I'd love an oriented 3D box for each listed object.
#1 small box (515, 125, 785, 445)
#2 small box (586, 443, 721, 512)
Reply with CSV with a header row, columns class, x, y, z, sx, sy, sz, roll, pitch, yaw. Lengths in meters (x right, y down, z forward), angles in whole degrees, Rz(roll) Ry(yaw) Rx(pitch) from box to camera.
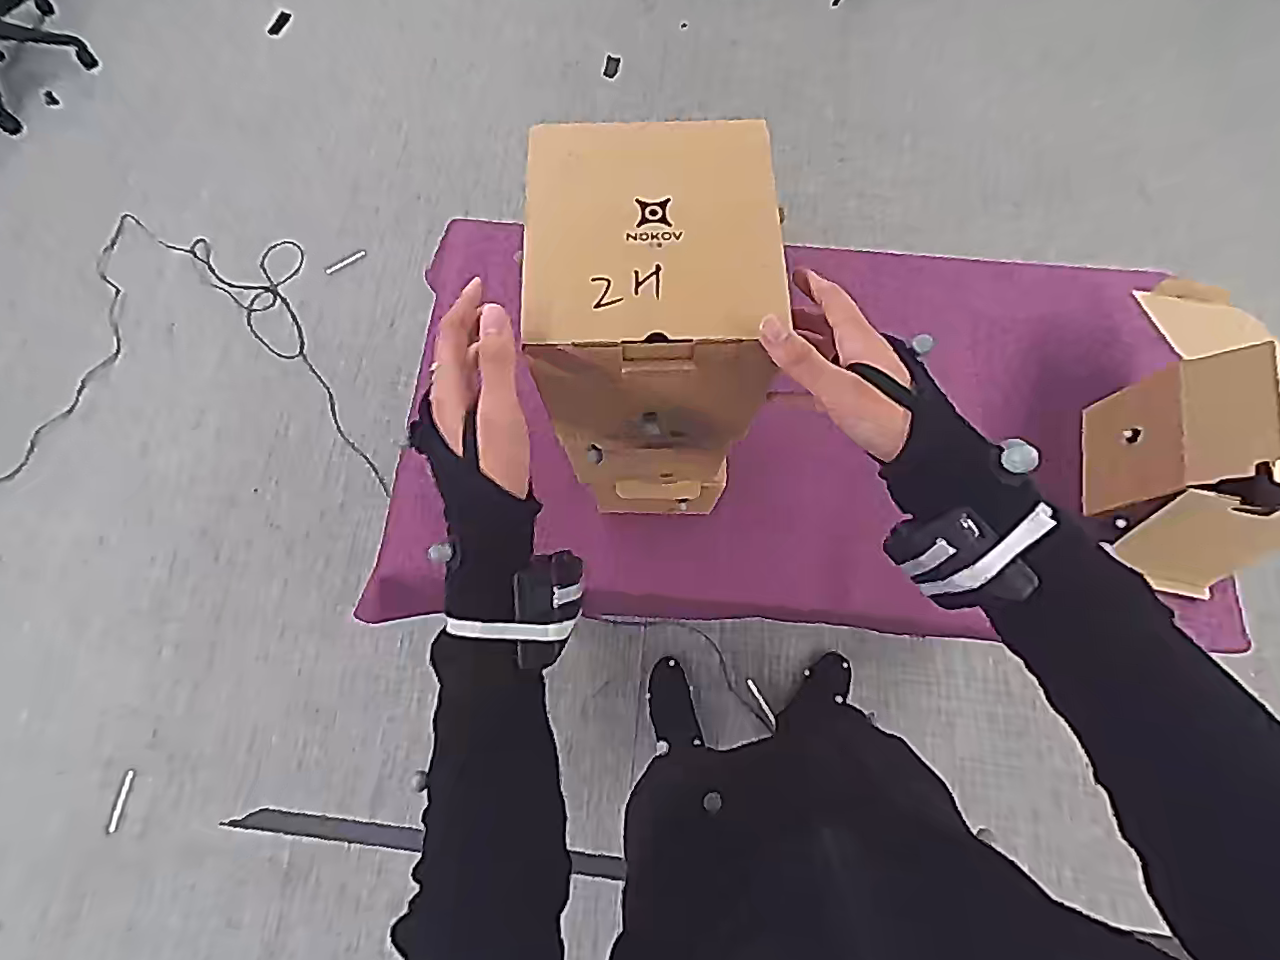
class,x,y,z,sx,sy,sz,roll,pitch,yaw
small box,0.005,-0.138,0.425,0.168,0.176,0.179,-2,73,0
small box,0.020,-0.055,0.745,0.168,0.176,0.179,2,74,0
